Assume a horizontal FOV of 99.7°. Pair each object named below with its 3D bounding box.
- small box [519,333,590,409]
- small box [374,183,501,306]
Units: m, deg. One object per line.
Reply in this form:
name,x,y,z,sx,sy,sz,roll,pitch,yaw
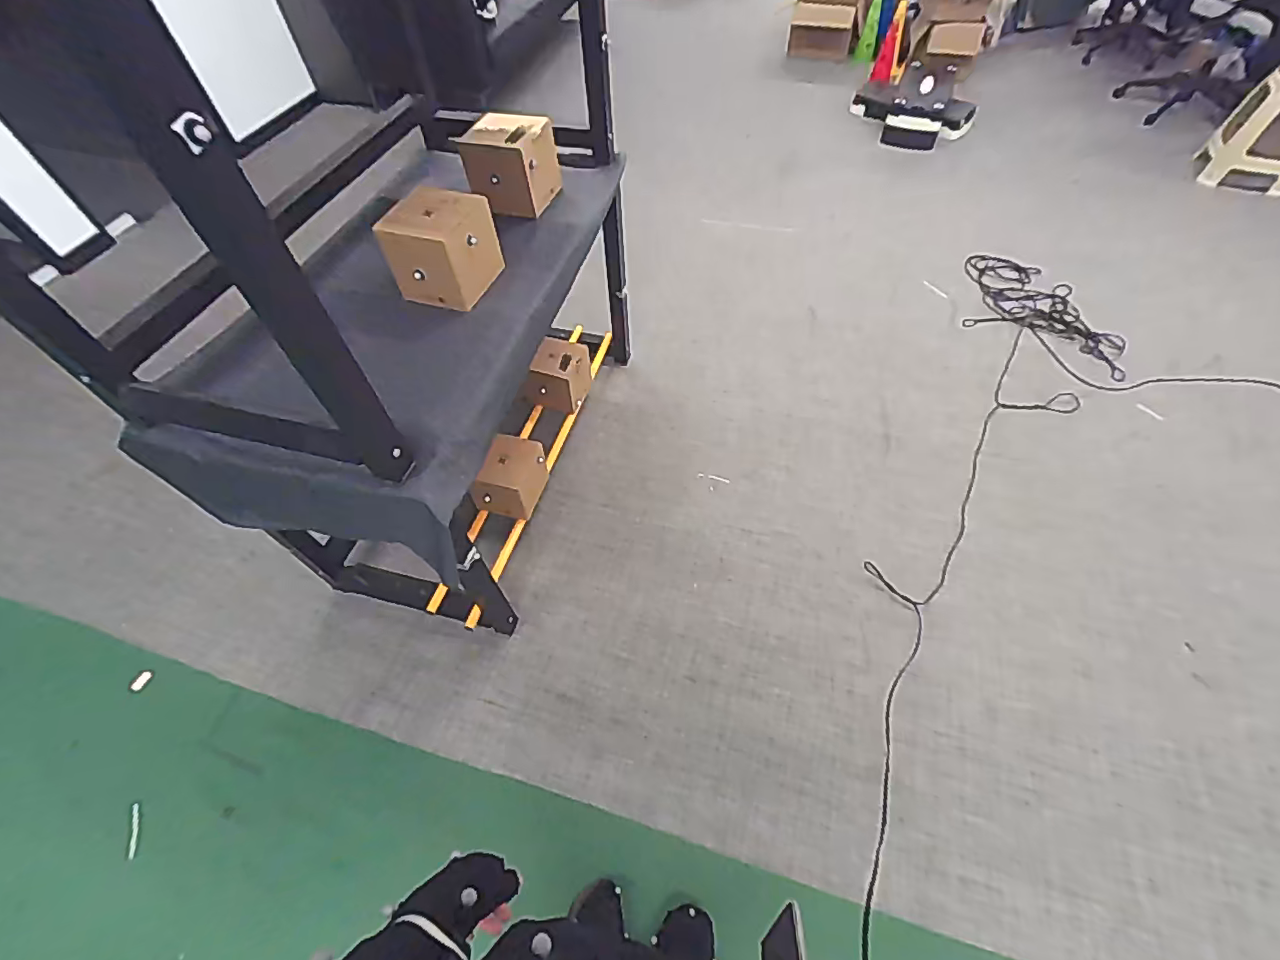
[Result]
small box,-0.280,-0.361,1.814,0.179,0.176,0.168,15,57,12
small box,-0.418,-0.500,1.155,0.168,0.176,0.179,15,57,12
